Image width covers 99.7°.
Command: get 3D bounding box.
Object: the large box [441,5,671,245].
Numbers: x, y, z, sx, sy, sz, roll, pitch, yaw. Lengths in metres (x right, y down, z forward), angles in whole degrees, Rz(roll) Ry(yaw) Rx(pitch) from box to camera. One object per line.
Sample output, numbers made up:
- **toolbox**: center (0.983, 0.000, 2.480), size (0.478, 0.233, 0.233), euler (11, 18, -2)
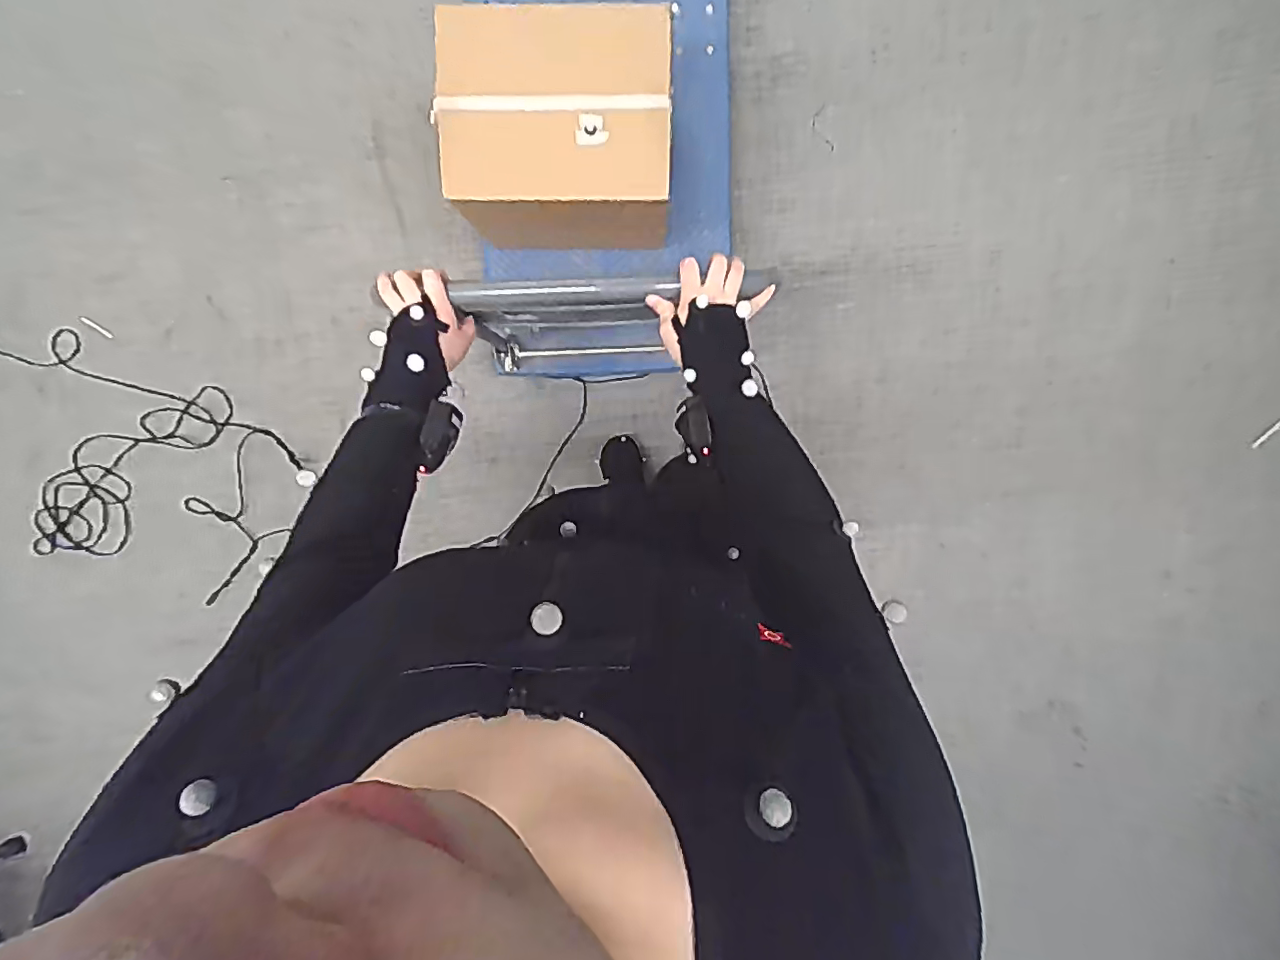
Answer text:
- **large box**: center (-0.147, -0.684, 1.098), size (0.408, 0.320, 0.320), euler (0, 98, 0)
